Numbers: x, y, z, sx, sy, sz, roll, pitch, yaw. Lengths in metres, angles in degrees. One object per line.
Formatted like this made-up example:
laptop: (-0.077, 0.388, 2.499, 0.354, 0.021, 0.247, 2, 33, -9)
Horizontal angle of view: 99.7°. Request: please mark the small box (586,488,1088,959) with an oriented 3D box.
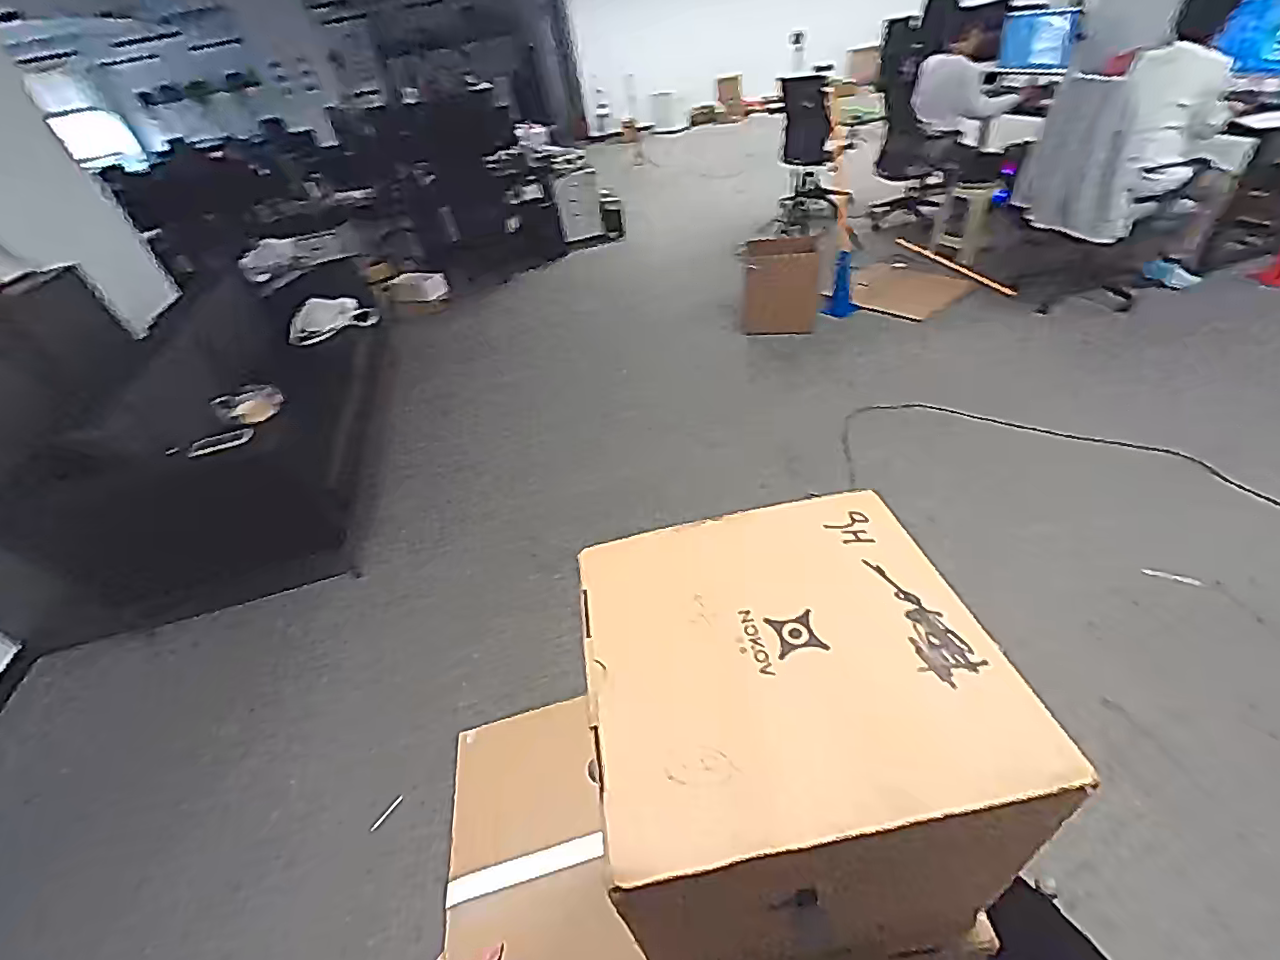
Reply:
small box: (0.076, 0.133, 0.298, 0.179, 0.176, 0.168, -12, 39, -1)
